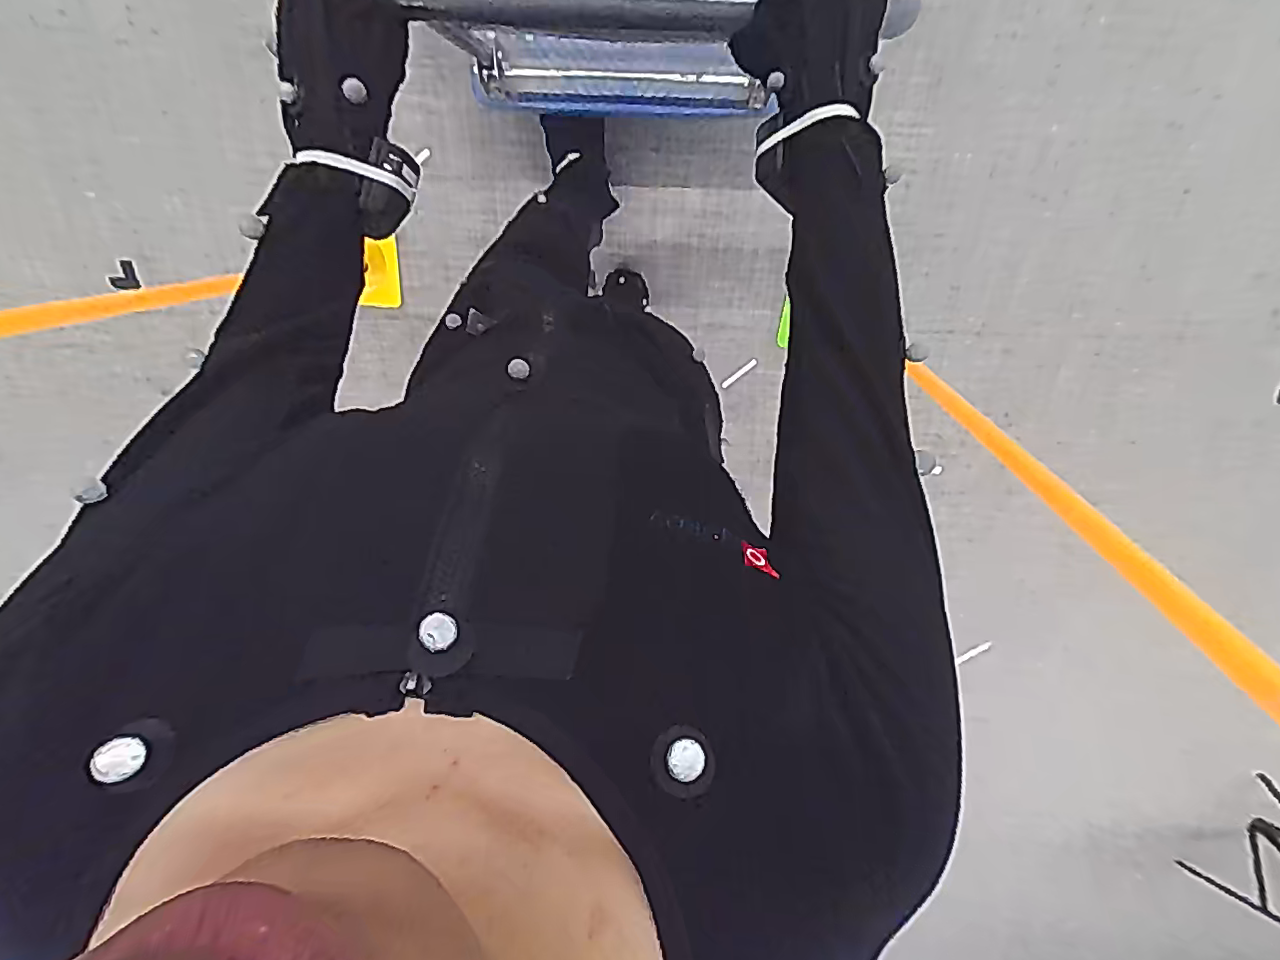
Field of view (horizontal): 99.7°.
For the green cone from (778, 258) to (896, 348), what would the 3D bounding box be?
[{"bbox_3d":[0.457,-0.356,1.183,0.202,0.368,0.200,5,117,-4],"label":"green cone"}]
